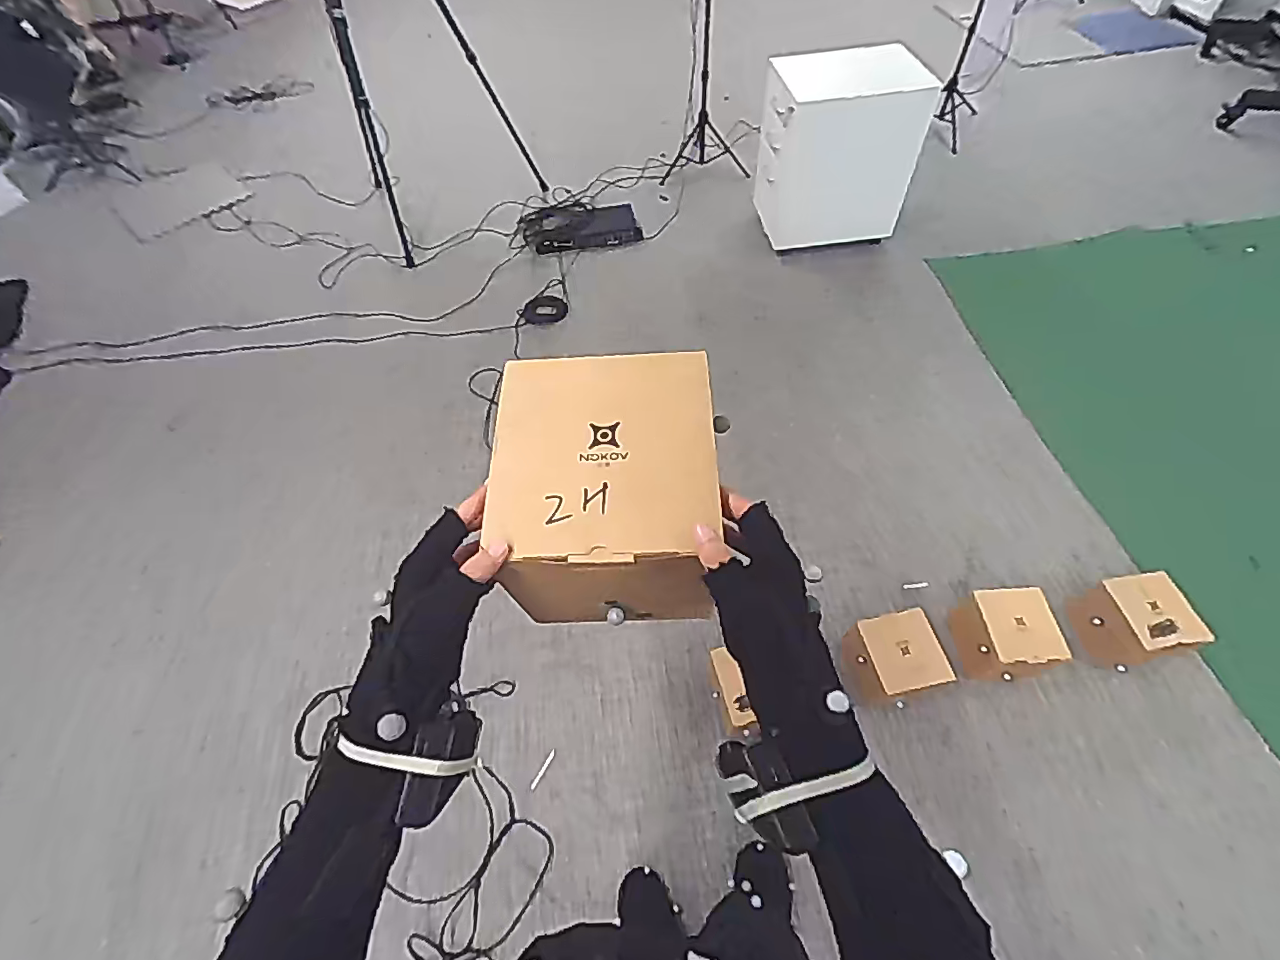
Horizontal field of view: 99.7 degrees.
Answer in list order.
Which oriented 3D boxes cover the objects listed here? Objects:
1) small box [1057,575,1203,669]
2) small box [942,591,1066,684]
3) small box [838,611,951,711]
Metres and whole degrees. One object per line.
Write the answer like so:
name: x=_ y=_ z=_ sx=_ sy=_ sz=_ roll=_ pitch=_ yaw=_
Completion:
small box: x=1.204 y=0.360 z=1.346 sx=0.168 sy=0.176 sz=0.179 roll=-7 pitch=55 yaw=-2
small box: x=0.886 y=0.392 z=1.341 sx=0.168 sy=0.176 sz=0.179 roll=-4 pitch=56 yaw=1
small box: x=0.606 y=0.444 z=1.319 sx=0.168 sy=0.176 sz=0.179 roll=-12 pitch=58 yaw=-3
